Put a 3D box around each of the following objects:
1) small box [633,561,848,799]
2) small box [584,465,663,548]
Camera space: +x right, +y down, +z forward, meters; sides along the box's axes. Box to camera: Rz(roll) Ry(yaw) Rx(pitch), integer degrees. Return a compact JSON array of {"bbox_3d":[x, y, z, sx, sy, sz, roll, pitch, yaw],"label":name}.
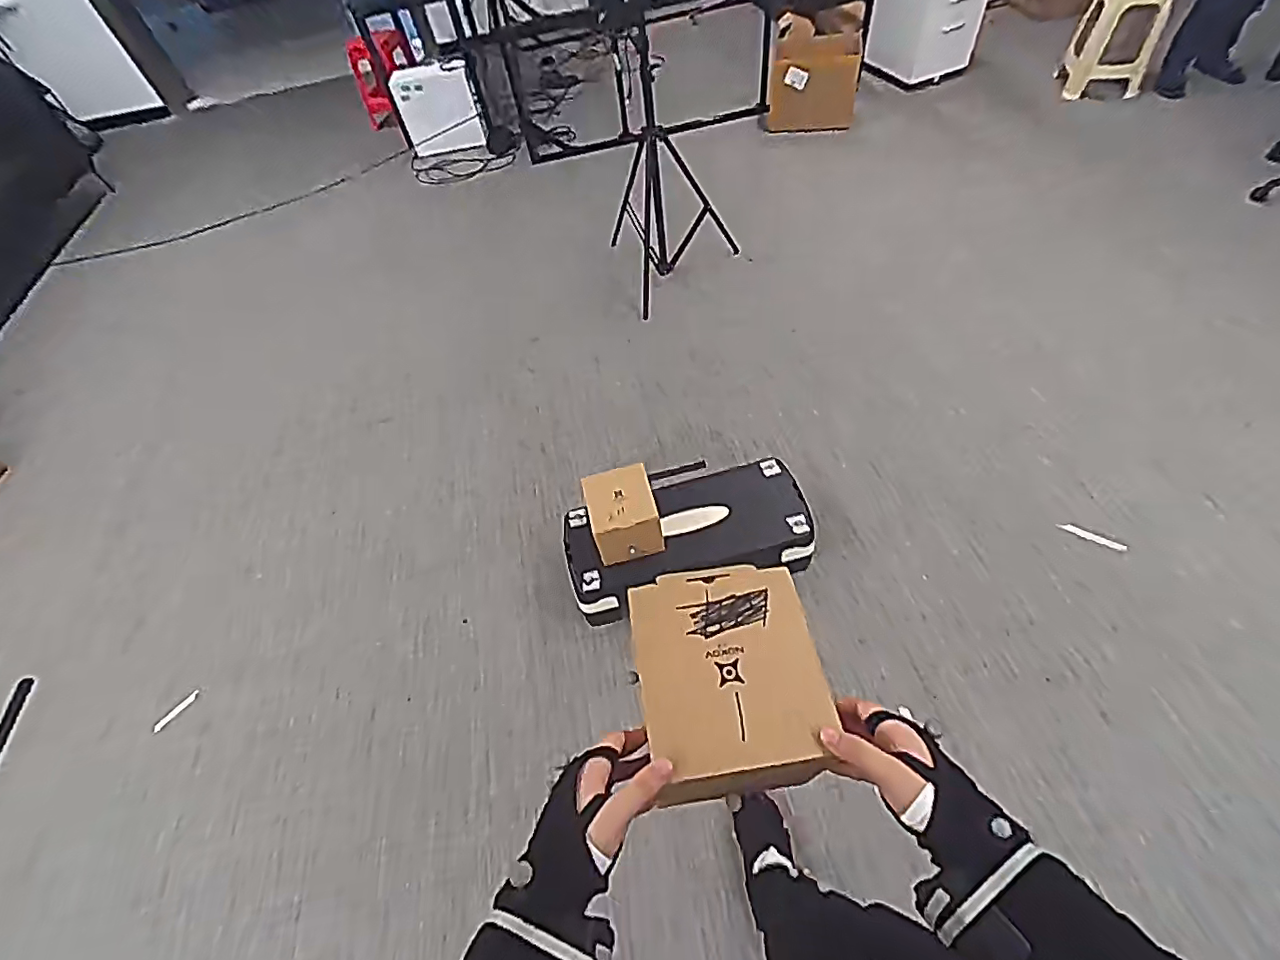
[{"bbox_3d":[0.083,0.207,0.556,0.168,0.176,0.179,-7,53,-4],"label":"small box"},{"bbox_3d":[-0.042,0.093,1.398,0.168,0.176,0.179,-15,54,-2],"label":"small box"}]
